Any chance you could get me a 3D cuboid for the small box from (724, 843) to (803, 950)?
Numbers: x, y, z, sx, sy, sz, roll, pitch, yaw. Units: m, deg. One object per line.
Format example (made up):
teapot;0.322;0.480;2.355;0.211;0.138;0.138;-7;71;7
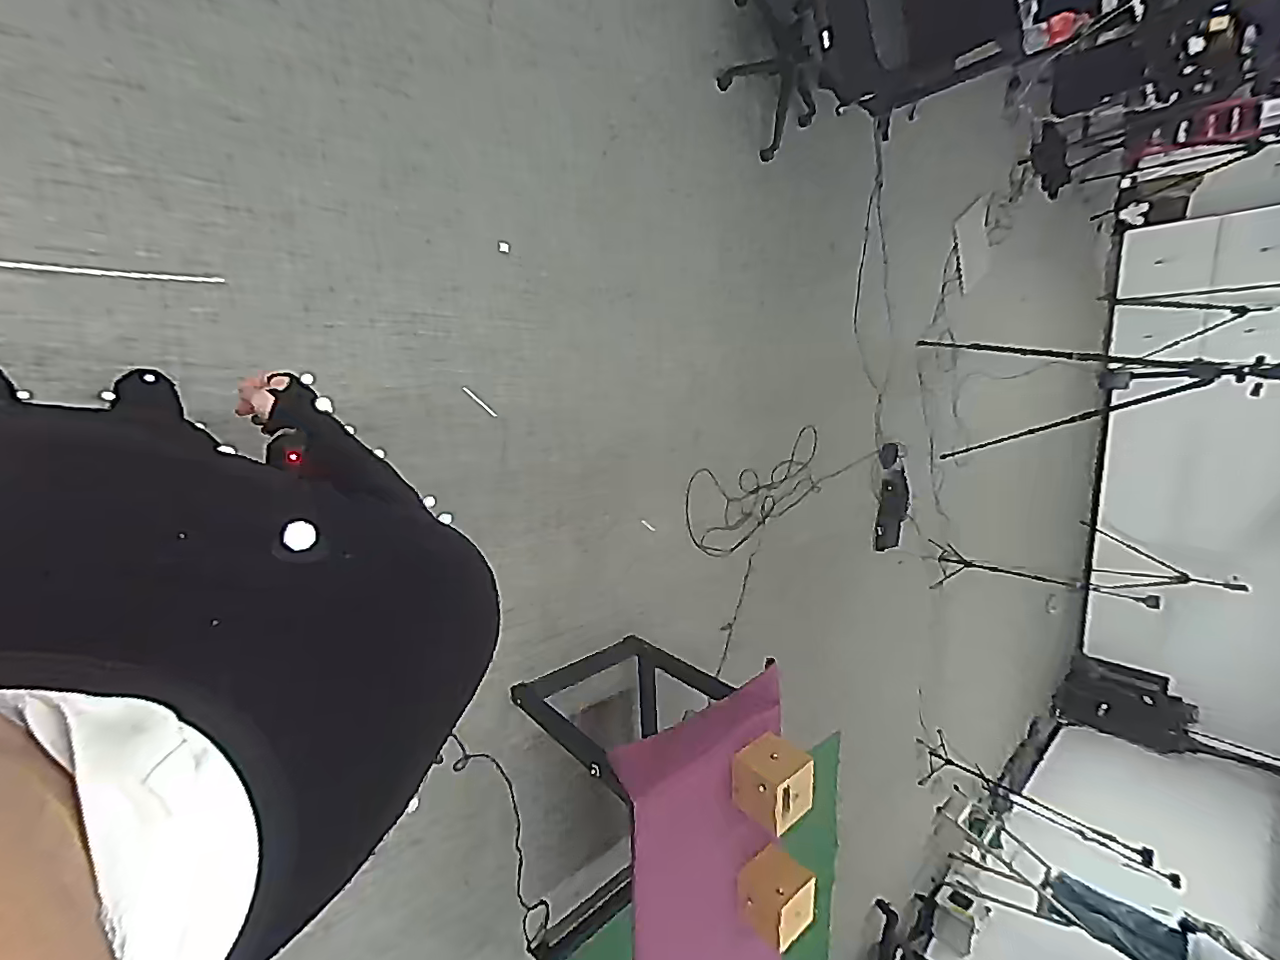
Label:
small box;0.390;1.304;1.710;0.179;0.176;0.168;-7;103;-37
